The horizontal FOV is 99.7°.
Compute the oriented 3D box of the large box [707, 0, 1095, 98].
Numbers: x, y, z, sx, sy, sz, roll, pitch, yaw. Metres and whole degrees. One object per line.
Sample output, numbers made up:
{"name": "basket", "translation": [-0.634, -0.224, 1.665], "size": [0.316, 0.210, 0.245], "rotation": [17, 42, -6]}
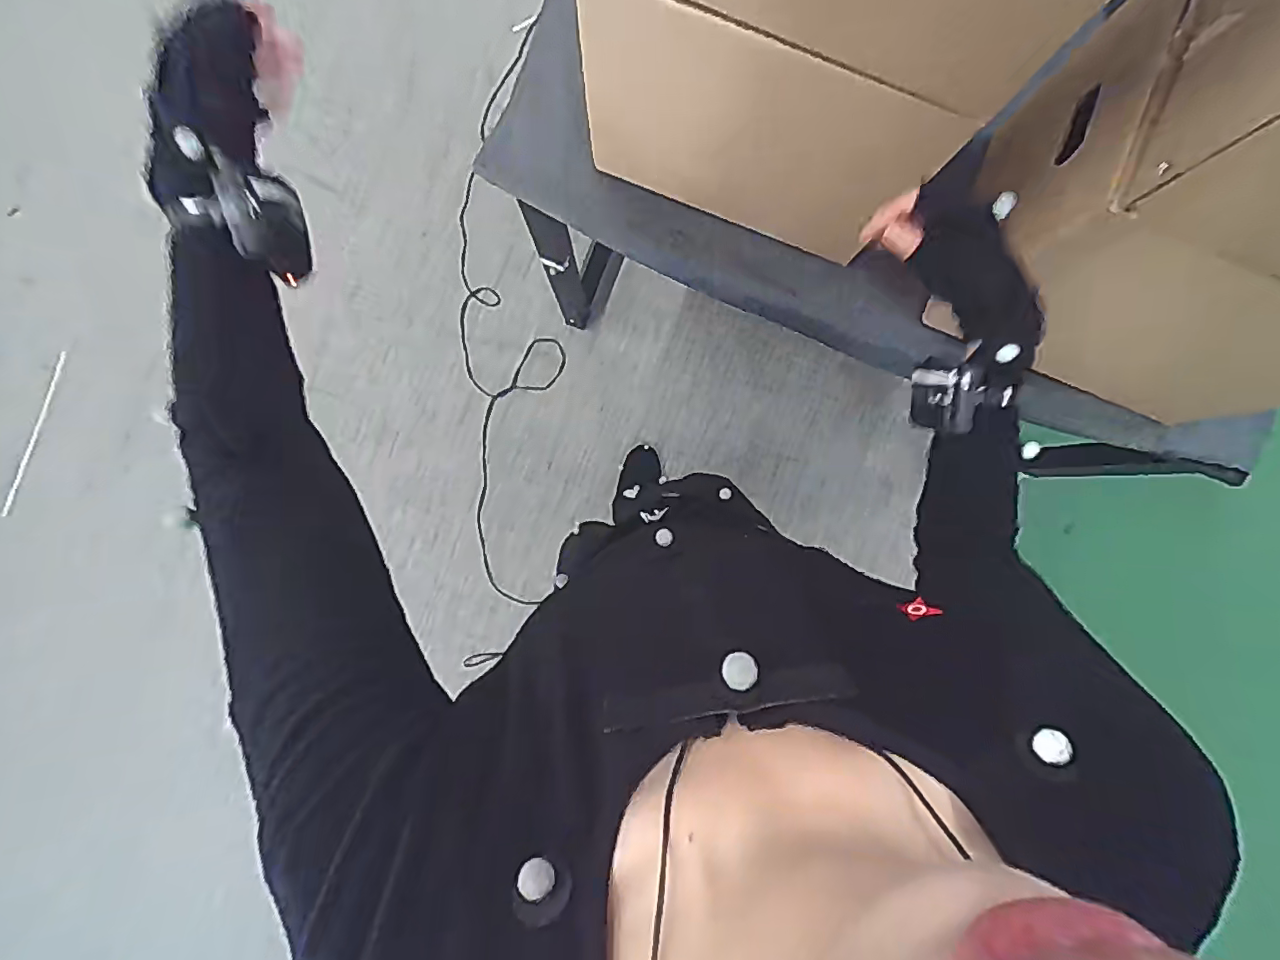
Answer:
{"name": "large box", "translation": [0.183, -0.541, 0.333], "size": [0.408, 0.320, 0.320], "rotation": [21, 89, 0]}
